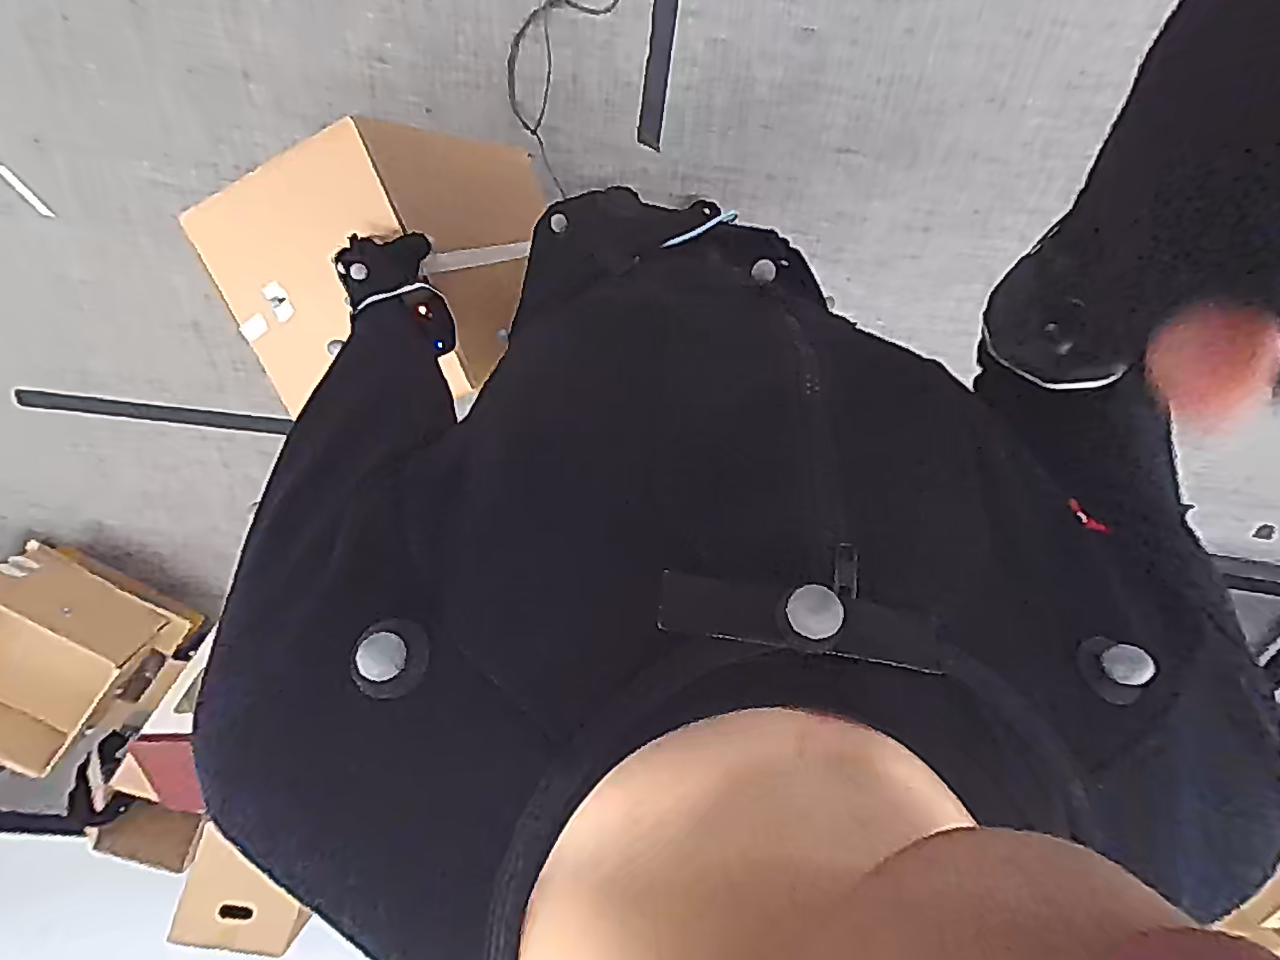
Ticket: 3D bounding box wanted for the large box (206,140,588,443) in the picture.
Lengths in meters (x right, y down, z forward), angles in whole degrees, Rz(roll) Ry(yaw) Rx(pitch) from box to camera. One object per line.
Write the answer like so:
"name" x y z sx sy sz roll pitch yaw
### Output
"large box" -0.335 -0.297 0.864 0.320 0.408 0.320 -10 113 22
